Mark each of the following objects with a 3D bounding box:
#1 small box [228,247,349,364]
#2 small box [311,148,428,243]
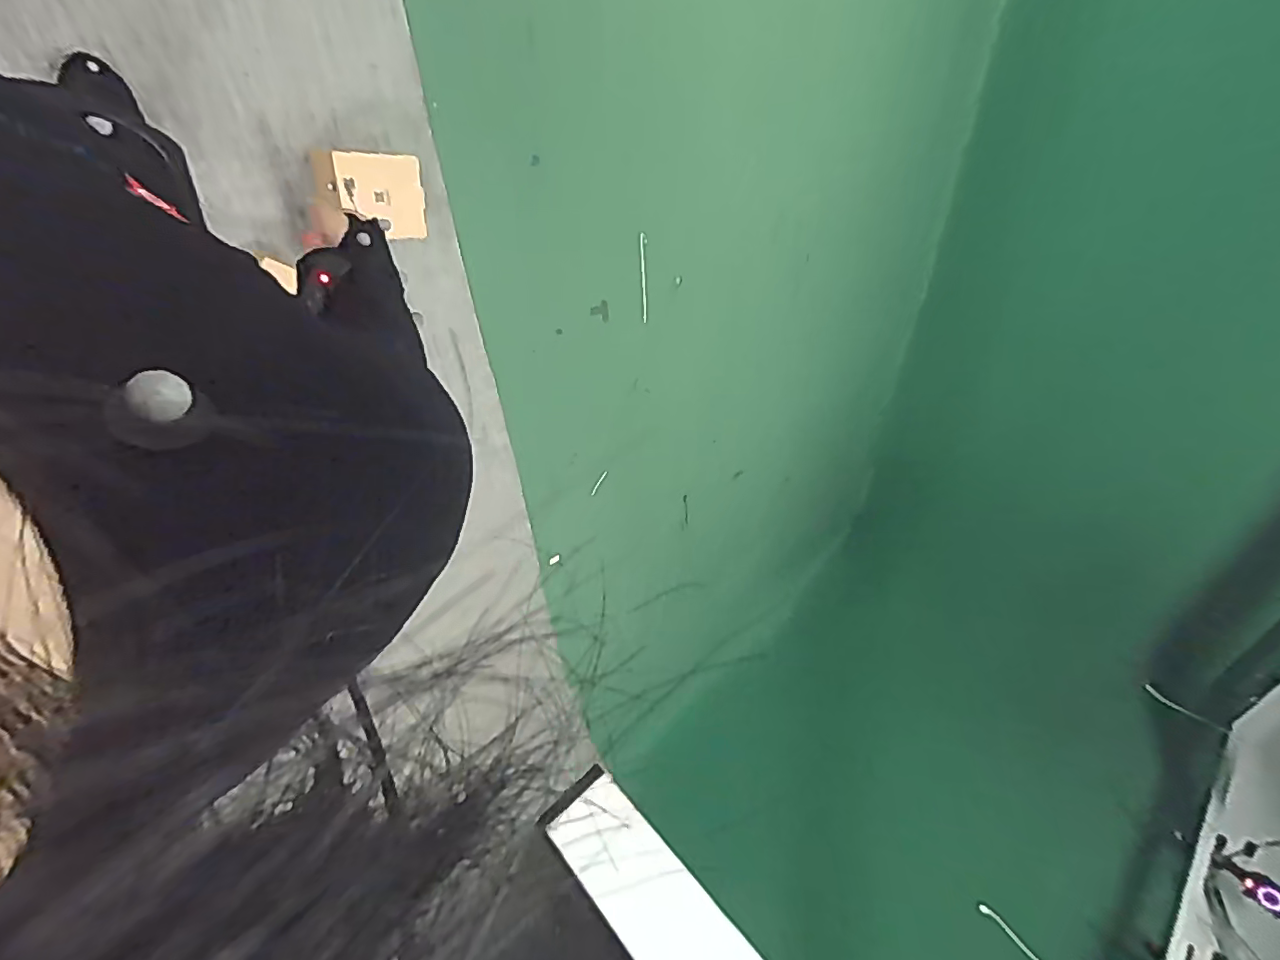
[{"bbox_3d":[-0.776,-0.382,1.186,0.168,0.176,0.179,14,105,-51],"label":"small box"},{"bbox_3d":[-0.598,-0.633,1.201,0.179,0.176,0.168,-22,131,-37],"label":"small box"}]
